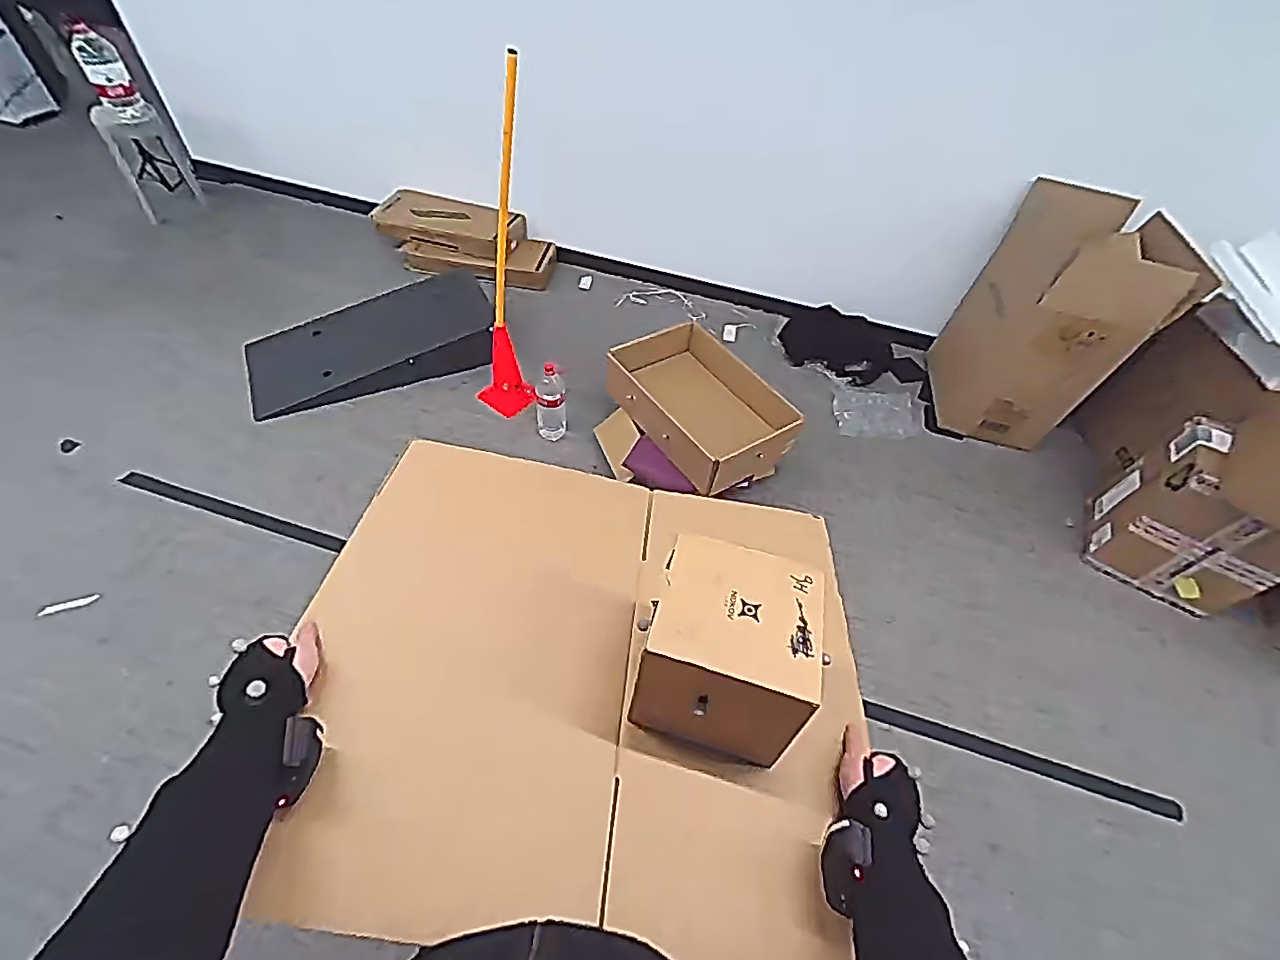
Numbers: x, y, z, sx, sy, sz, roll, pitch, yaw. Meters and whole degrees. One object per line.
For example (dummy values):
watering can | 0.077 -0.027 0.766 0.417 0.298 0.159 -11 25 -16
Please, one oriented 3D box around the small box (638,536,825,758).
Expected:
small box | 0.103 0.197 0.636 0.179 0.176 0.168 15 44 8
